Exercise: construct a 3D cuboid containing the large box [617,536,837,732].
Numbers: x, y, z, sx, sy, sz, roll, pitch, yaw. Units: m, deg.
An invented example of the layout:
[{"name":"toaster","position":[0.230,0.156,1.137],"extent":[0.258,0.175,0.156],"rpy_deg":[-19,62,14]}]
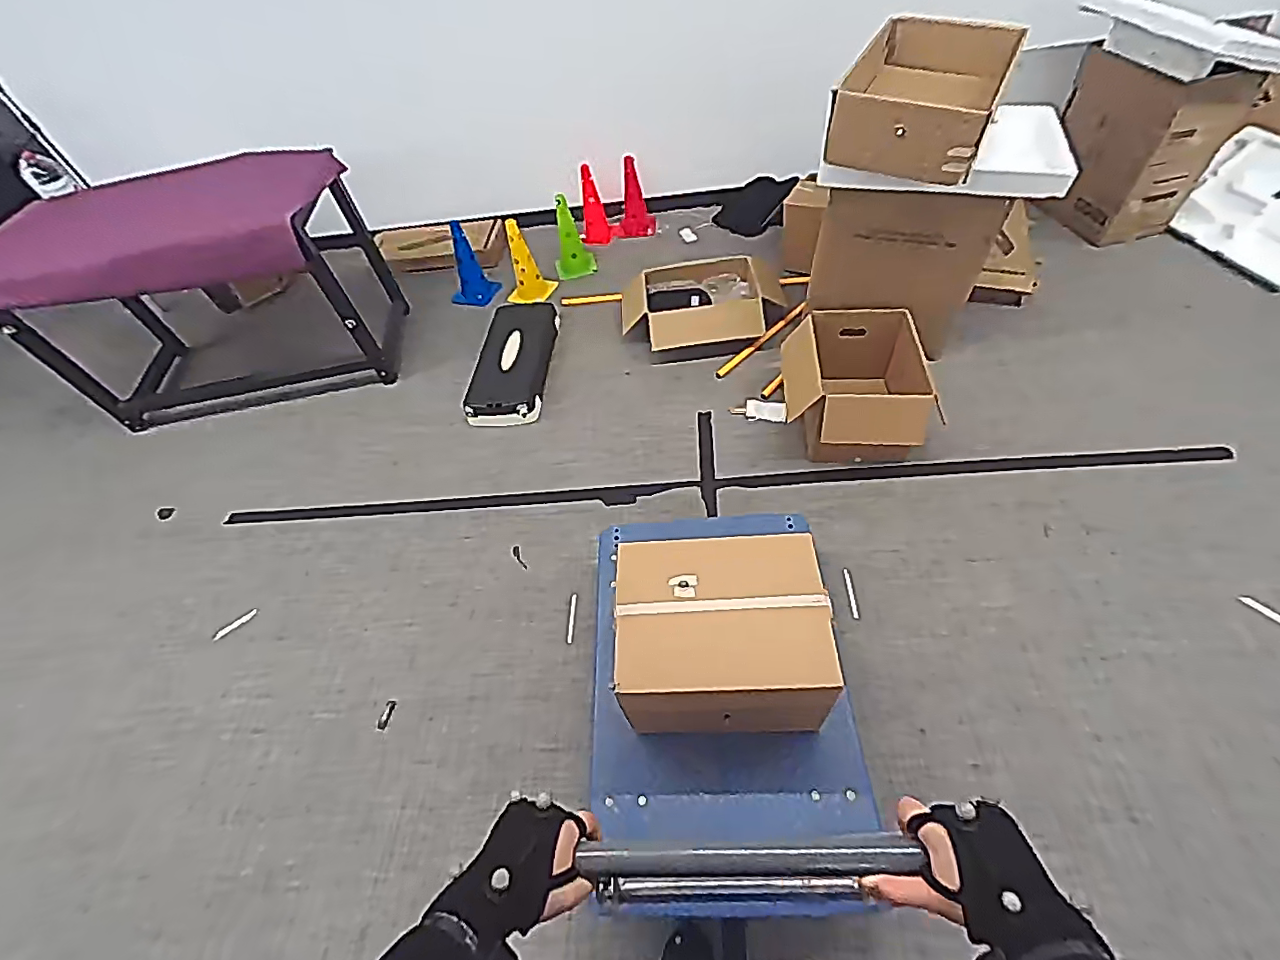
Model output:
[{"name":"large box","position":[0.174,0.347,1.181],"extent":[0.408,0.320,0.320],"rpy_deg":[-5,51,6]}]
